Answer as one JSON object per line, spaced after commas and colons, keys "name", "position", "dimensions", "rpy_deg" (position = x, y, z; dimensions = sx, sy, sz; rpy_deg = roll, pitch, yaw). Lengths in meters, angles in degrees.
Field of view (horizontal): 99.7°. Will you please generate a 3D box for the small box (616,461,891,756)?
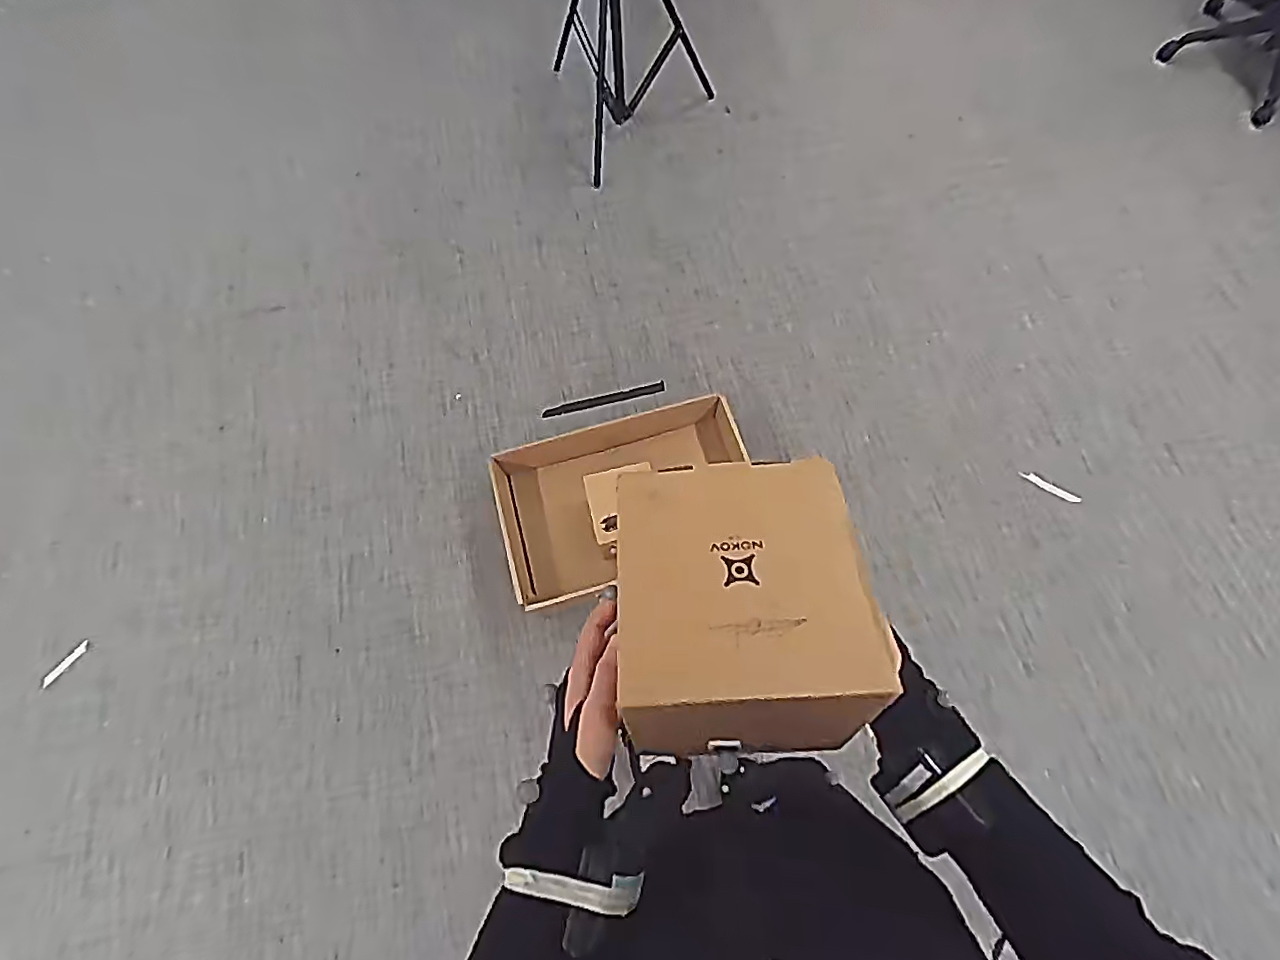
{"name": "small box", "position": [0.070, 0.107, 0.434], "dimensions": [0.168, 0.176, 0.179], "rpy_deg": [-5, 54, 3]}
